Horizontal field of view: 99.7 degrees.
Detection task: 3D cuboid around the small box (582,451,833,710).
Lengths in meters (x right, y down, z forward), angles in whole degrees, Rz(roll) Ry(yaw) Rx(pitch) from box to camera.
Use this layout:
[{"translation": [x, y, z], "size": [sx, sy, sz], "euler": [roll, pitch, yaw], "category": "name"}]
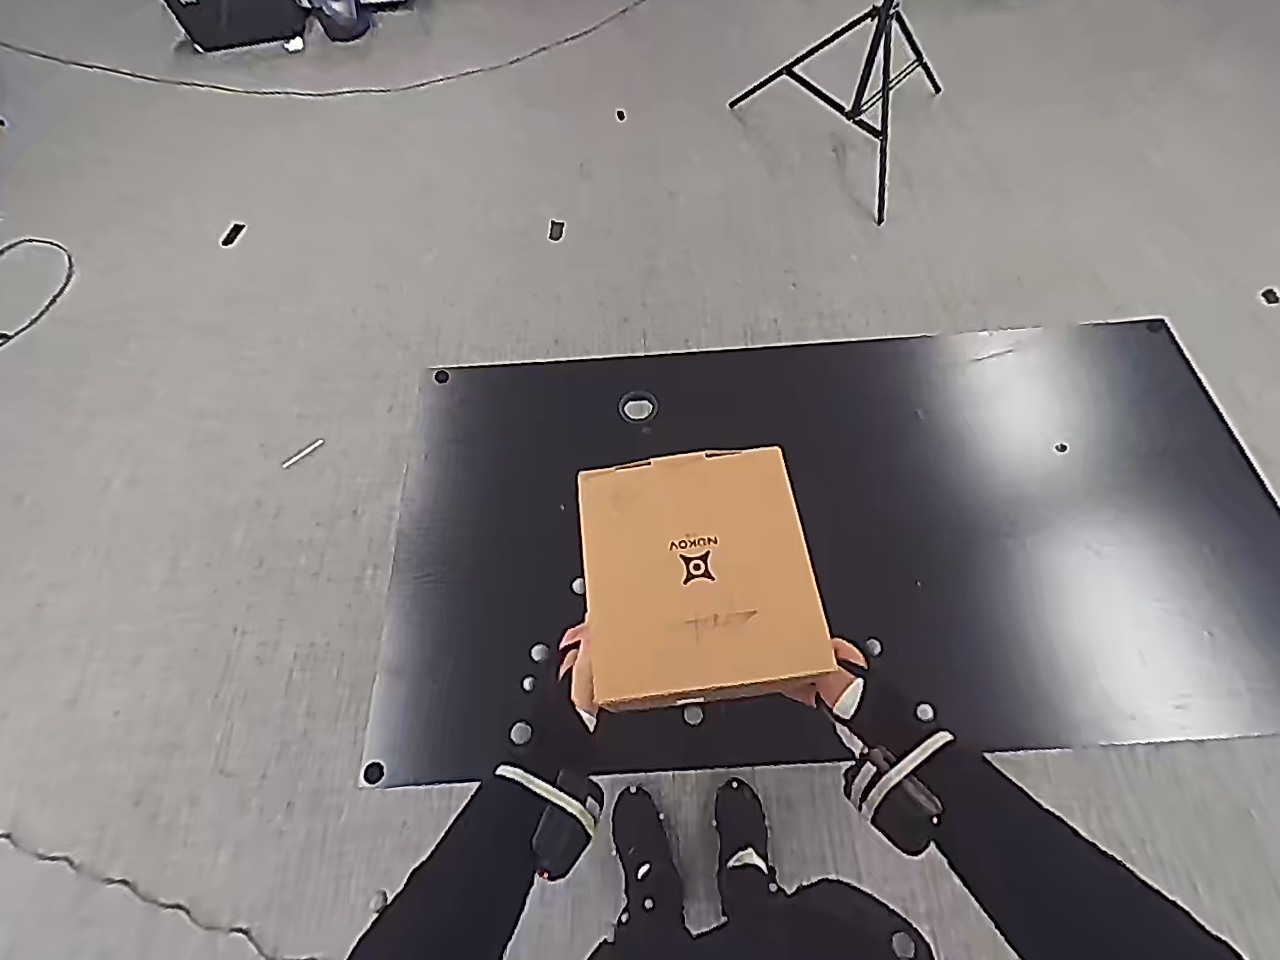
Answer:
[{"translation": [0.047, 0.097, 0.478], "size": [0.168, 0.176, 0.179], "euler": [-9, 65, 0], "category": "small box"}]
